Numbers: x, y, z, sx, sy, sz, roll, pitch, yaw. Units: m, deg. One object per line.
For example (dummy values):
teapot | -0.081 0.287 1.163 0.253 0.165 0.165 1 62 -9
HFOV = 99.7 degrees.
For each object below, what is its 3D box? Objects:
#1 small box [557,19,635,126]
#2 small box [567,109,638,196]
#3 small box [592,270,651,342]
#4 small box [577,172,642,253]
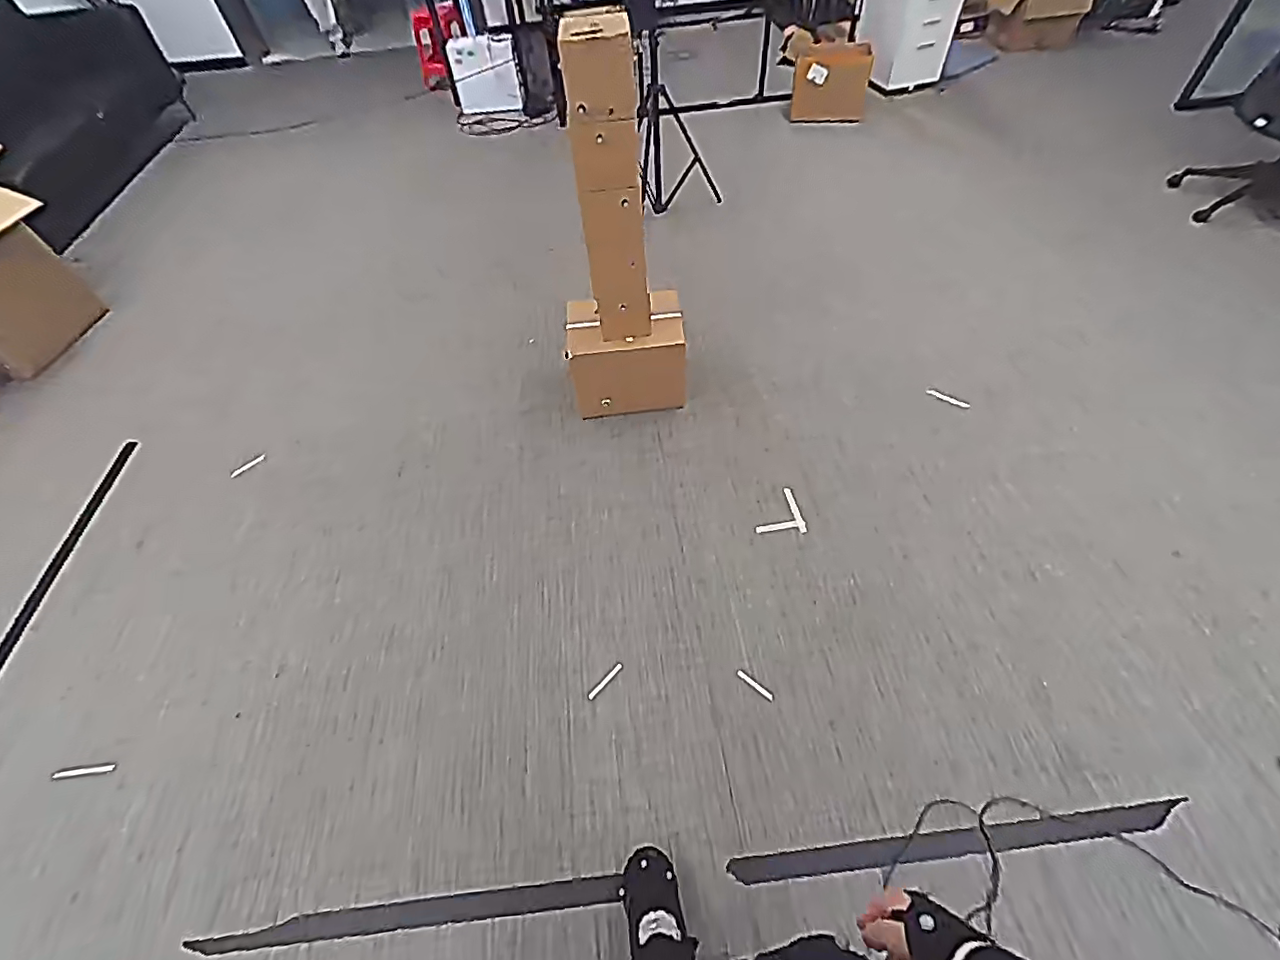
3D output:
small box | -0.103 -0.985 1.317 0.168 0.176 0.179 -5 53 1
small box | -0.095 -0.885 1.447 0.179 0.176 0.168 -5 54 1
small box | -0.061 -0.586 1.835 0.179 0.176 0.168 -8 54 -2
small box | -0.085 -0.786 1.575 0.179 0.176 0.168 -5 53 1
